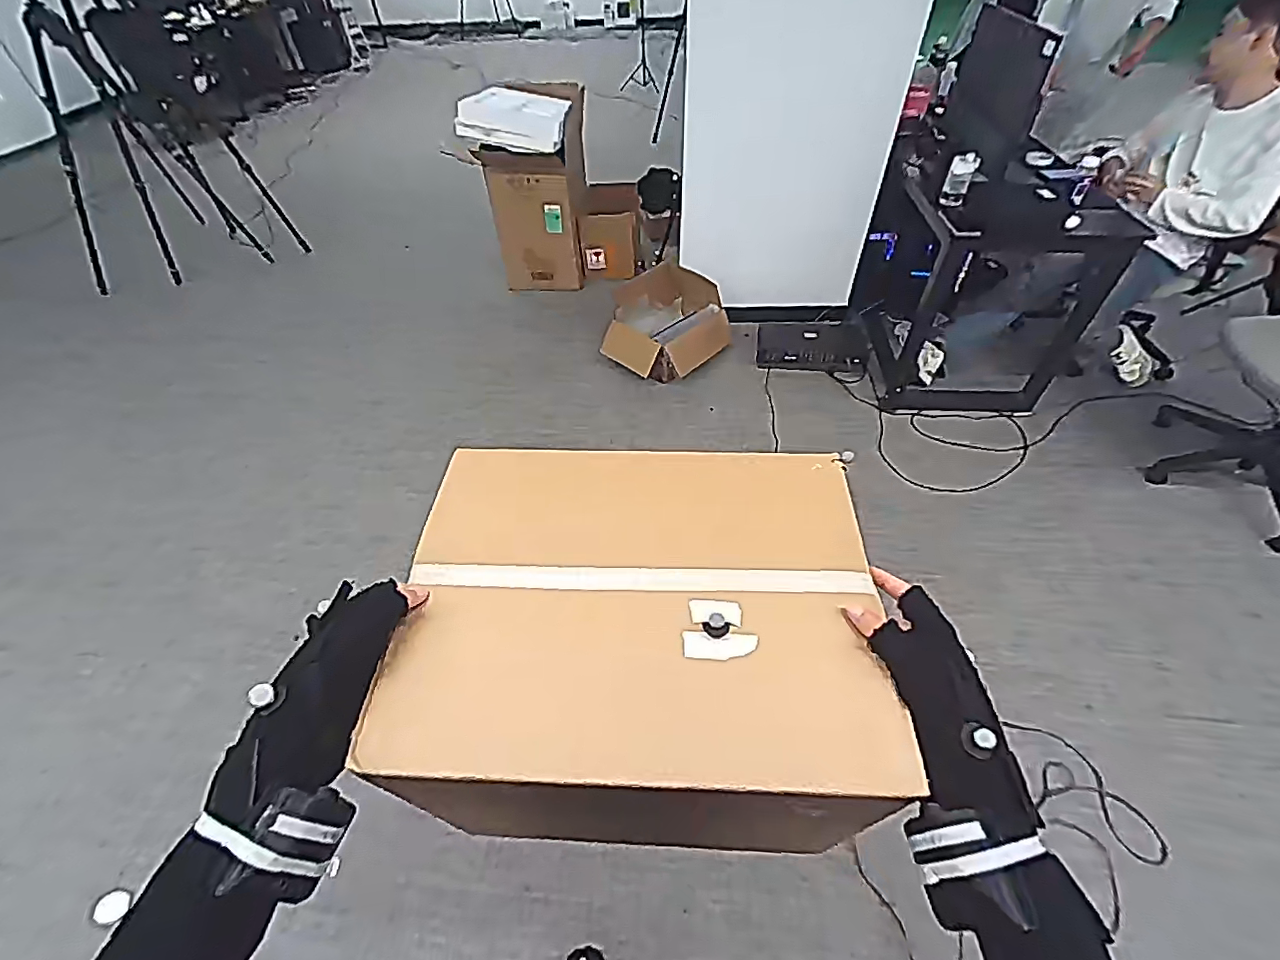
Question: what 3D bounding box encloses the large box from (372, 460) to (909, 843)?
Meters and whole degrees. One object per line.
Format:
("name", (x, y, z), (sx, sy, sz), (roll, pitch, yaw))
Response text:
("large box", (0.003, 0.193, 0.601), (0.408, 0.320, 0.320), (1, 50, 3))
